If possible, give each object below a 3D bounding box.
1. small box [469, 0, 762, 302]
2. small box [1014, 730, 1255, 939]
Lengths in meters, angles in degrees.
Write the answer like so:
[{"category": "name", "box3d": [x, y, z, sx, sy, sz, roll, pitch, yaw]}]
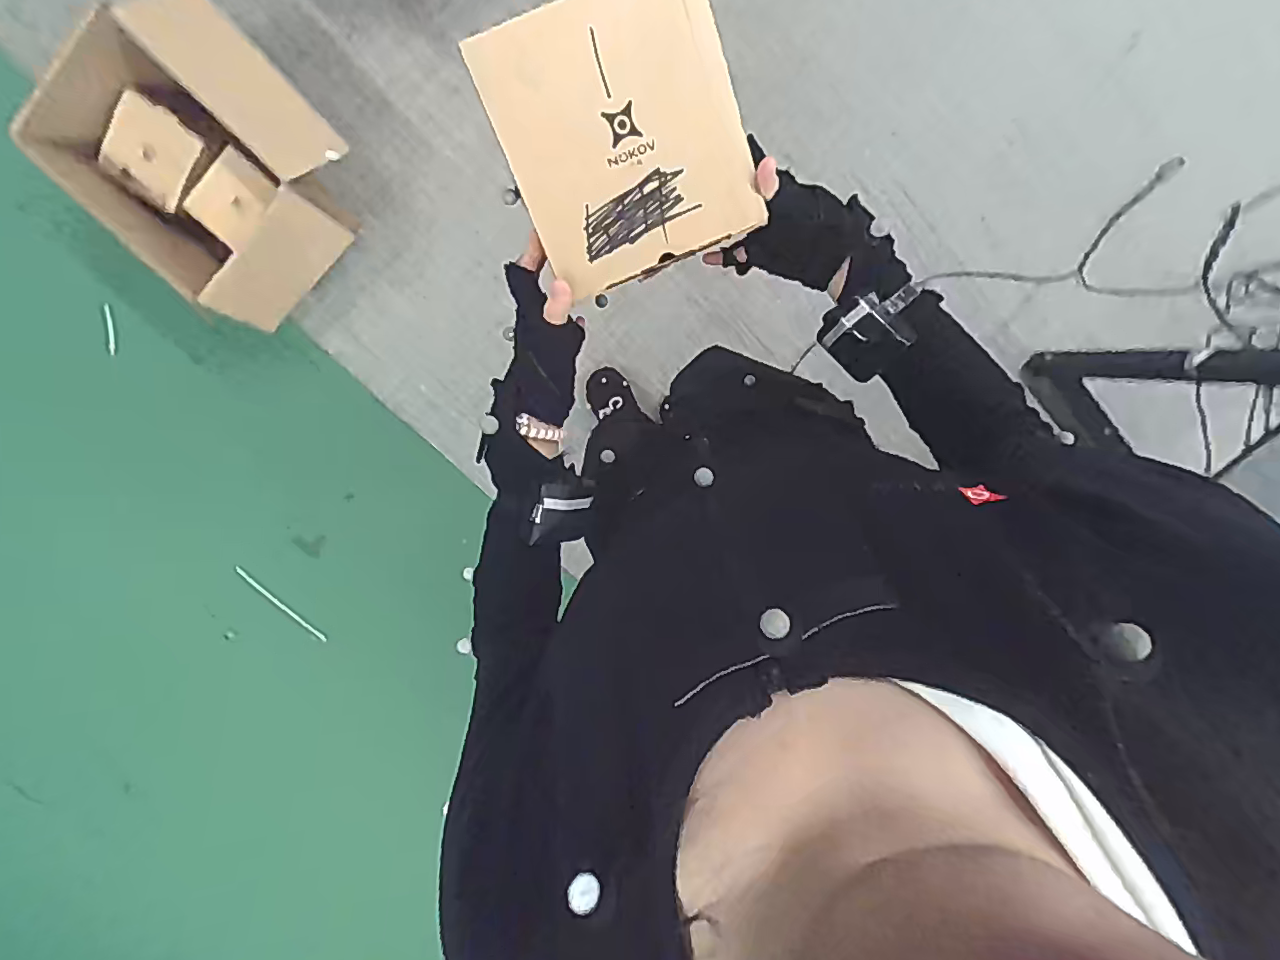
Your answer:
[{"category": "small box", "box3d": [-0.018, -0.266, 0.459, 0.168, 0.176, 0.179, -22, 109, 0]}, {"category": "small box", "box3d": [0.733, 0.525, 0.822, 0.179, 0.176, 0.168, 42, 98, -10]}]
